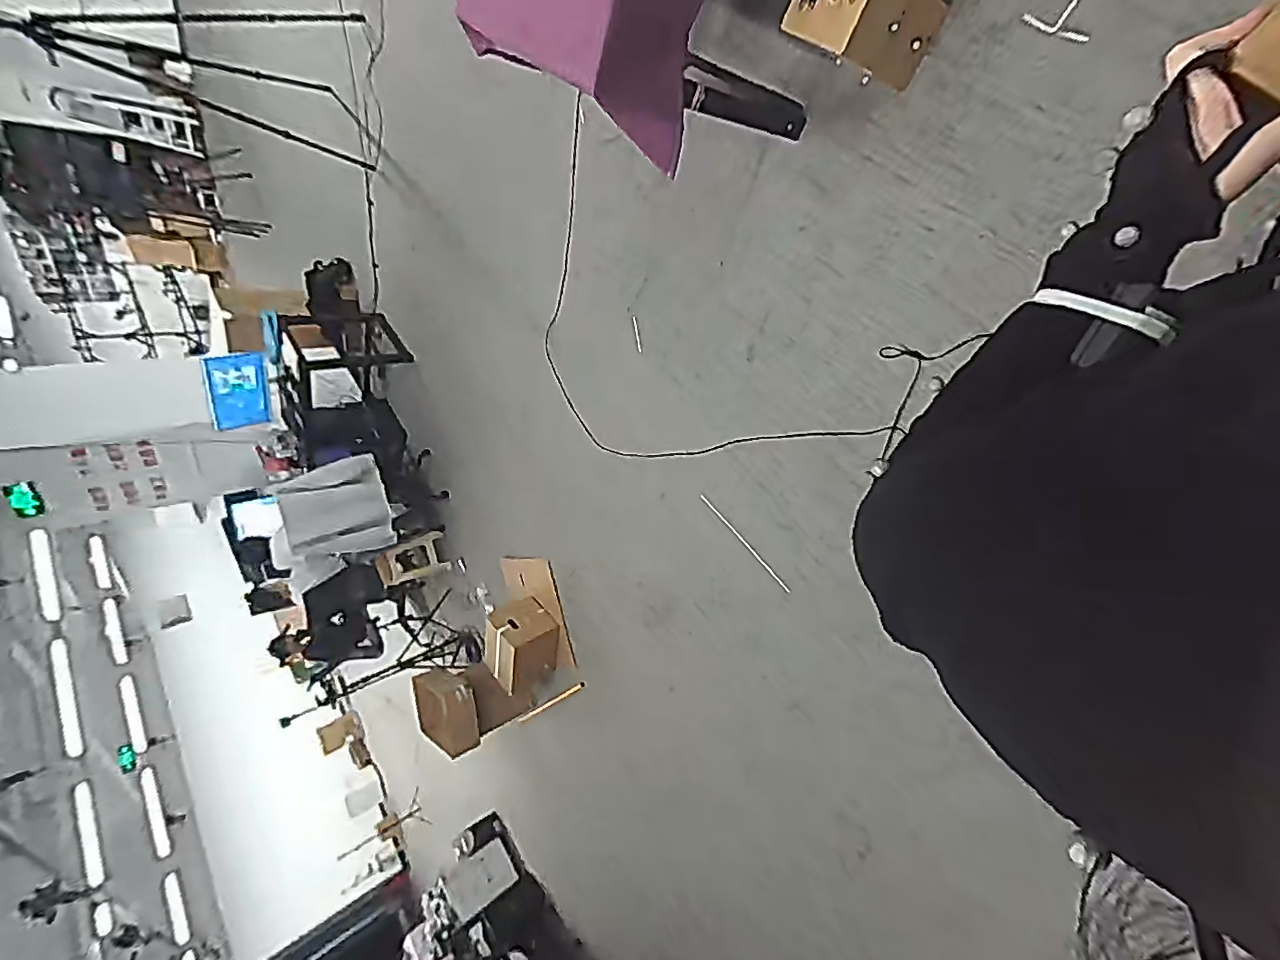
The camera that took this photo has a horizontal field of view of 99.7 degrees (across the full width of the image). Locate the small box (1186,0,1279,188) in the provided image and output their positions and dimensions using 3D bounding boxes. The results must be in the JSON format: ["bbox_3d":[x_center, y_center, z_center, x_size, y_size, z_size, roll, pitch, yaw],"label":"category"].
[{"bbox_3d":[0.478,-0.273,0.284,0.168,0.176,0.179,44,172,-4],"label":"small box"}]
